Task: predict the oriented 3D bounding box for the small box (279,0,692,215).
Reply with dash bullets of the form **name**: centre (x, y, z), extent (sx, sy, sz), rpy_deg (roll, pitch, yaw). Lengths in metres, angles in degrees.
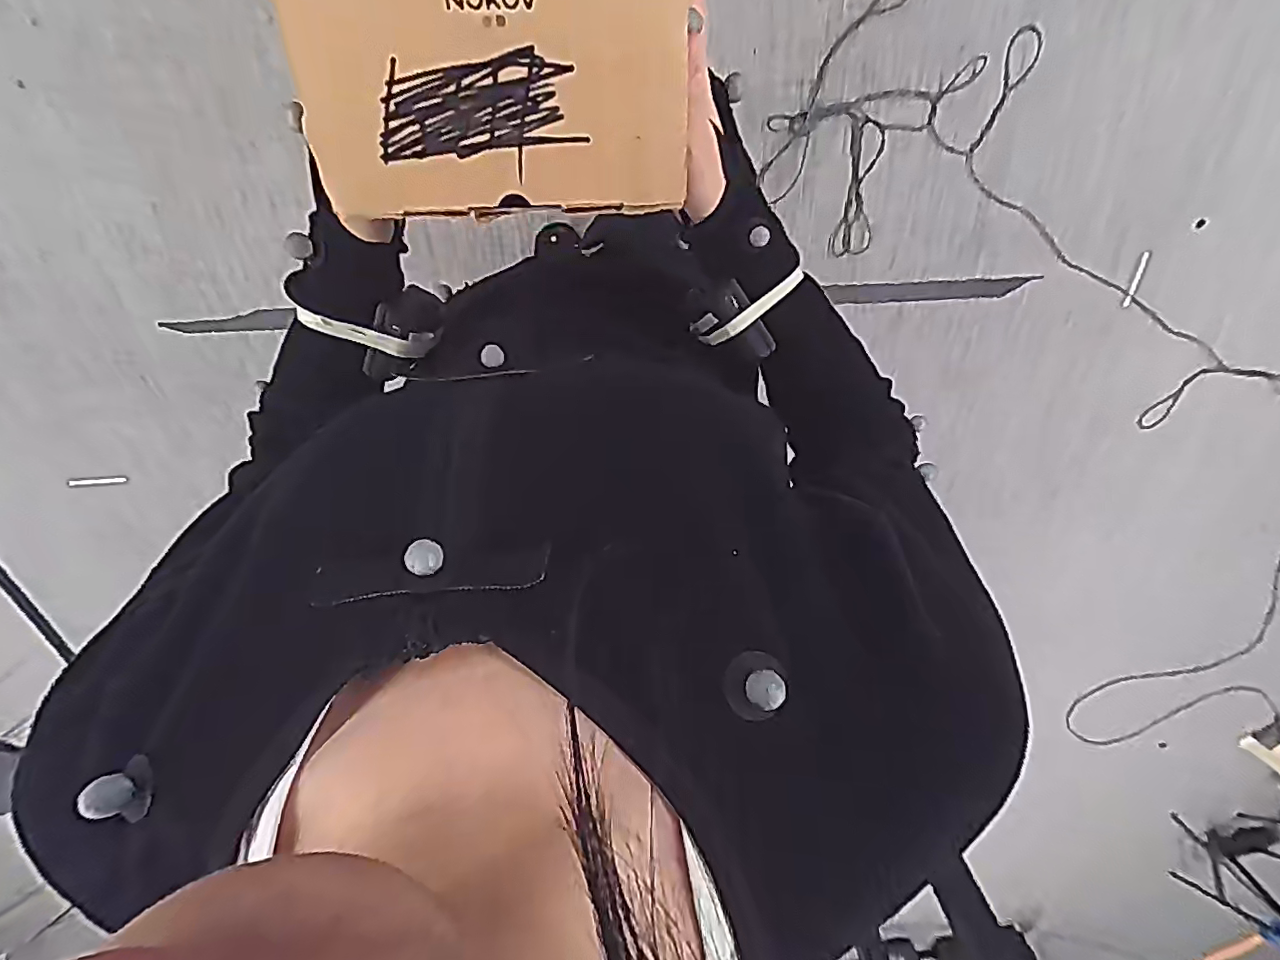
- **small box**: centre (-0.067, -0.243, 0.276), extent (0.168, 0.176, 0.179), rpy_deg (-5, 122, -5)
